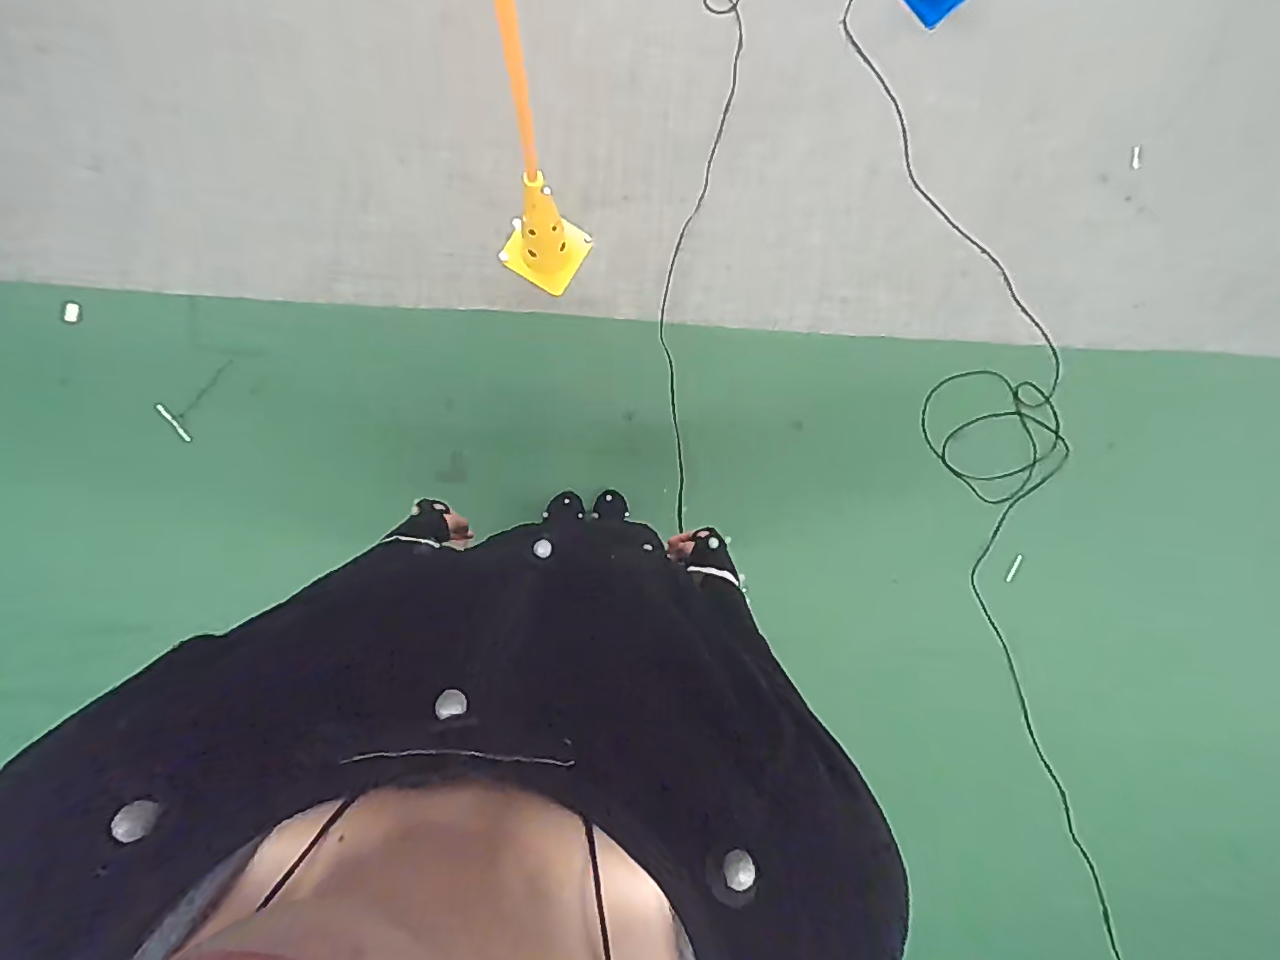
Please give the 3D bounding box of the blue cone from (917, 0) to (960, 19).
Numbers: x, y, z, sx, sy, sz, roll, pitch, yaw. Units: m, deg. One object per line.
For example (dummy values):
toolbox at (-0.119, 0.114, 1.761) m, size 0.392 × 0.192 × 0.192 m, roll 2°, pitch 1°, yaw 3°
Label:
blue cone at (0.905, -1.512, 1.460) m, size 0.193 × 0.380 × 0.192 m, roll -44°, pitch 92°, yaw -7°
